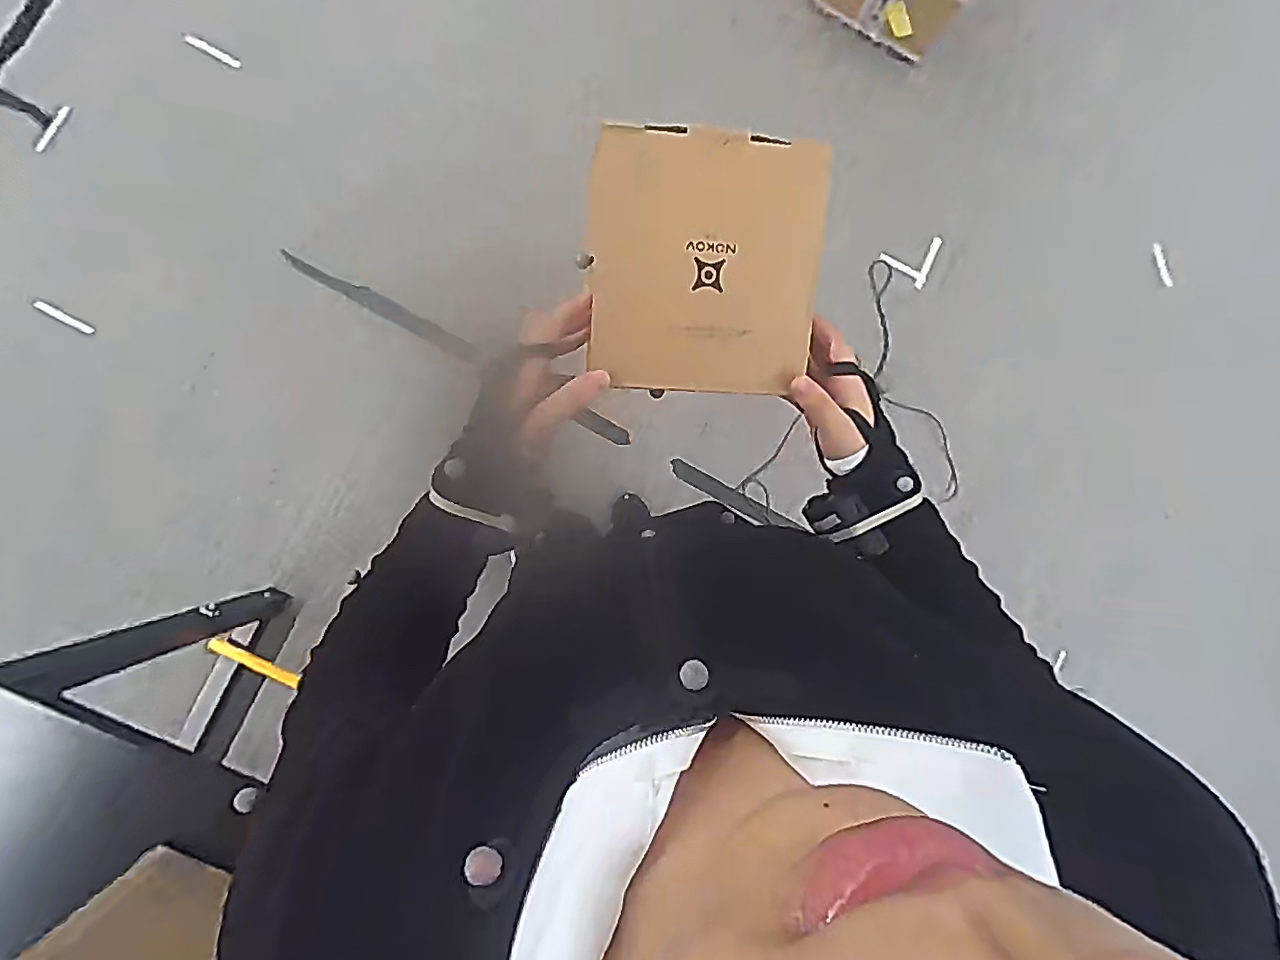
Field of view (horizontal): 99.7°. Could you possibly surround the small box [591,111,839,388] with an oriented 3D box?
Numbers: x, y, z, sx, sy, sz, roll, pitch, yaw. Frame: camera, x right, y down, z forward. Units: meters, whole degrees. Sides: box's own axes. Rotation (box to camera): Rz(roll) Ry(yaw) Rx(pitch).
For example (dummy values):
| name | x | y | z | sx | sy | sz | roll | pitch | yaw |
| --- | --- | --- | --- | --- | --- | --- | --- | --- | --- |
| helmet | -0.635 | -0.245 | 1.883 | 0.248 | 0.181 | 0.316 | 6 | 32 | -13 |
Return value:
| name | x | y | z | sx | sy | sz | roll | pitch | yaw |
| --- | --- | --- | --- | --- | --- | --- | --- | --- | --- |
| small box | 0.045 | -0.178 | 0.466 | 0.168 | 0.176 | 0.179 | 2 | 105 | -7 |
